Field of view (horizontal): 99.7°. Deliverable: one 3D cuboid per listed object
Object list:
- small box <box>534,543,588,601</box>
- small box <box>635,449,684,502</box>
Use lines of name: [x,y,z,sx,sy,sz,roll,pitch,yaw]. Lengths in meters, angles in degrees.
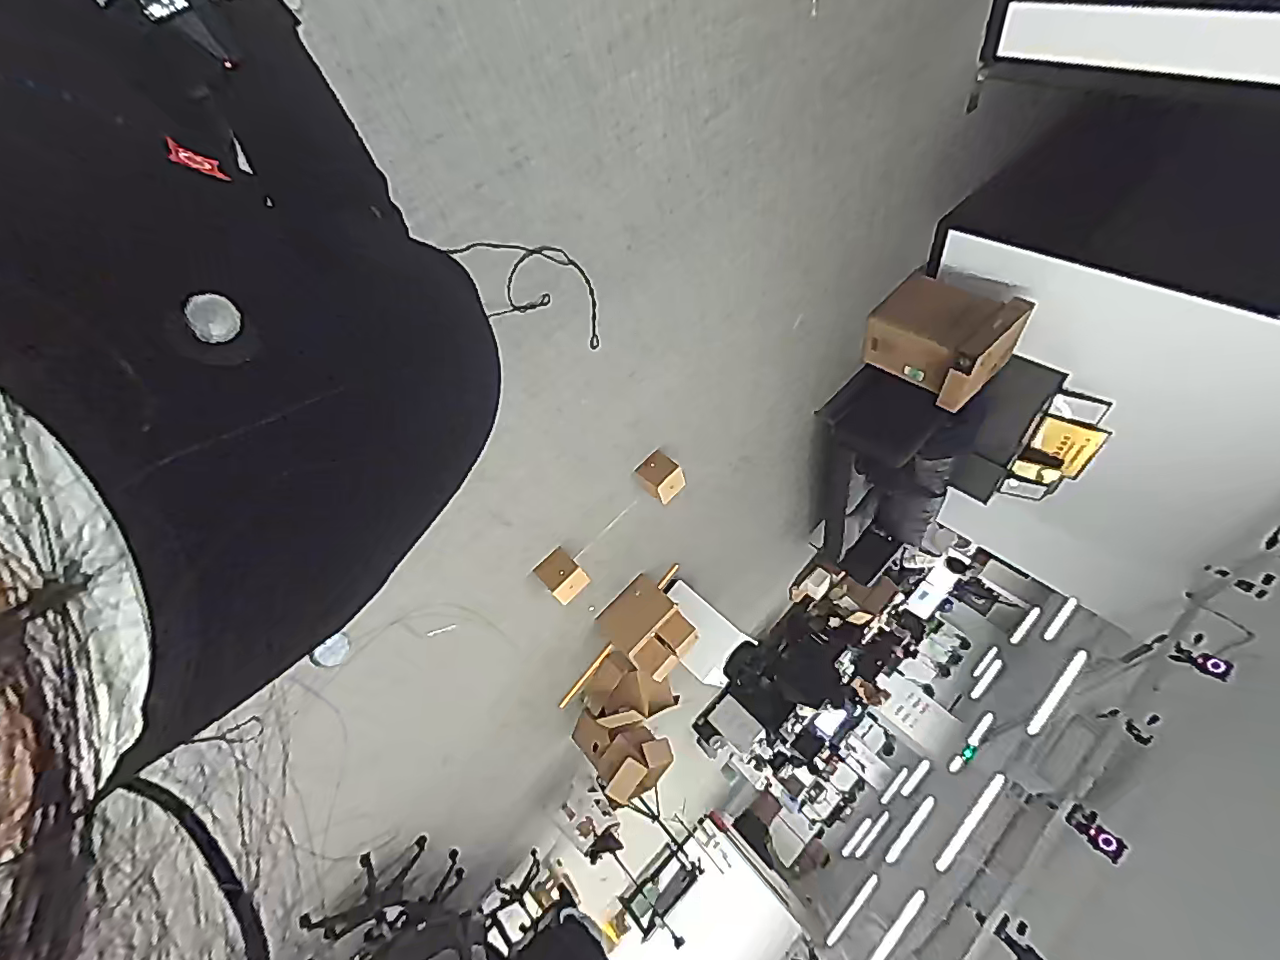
small box: [-0.384,0.439,2.594,0.179,0.176,0.168,-44,147,-14]
small box: [0.098,-0.026,2.741,0.168,0.176,0.179,-43,147,-13]
